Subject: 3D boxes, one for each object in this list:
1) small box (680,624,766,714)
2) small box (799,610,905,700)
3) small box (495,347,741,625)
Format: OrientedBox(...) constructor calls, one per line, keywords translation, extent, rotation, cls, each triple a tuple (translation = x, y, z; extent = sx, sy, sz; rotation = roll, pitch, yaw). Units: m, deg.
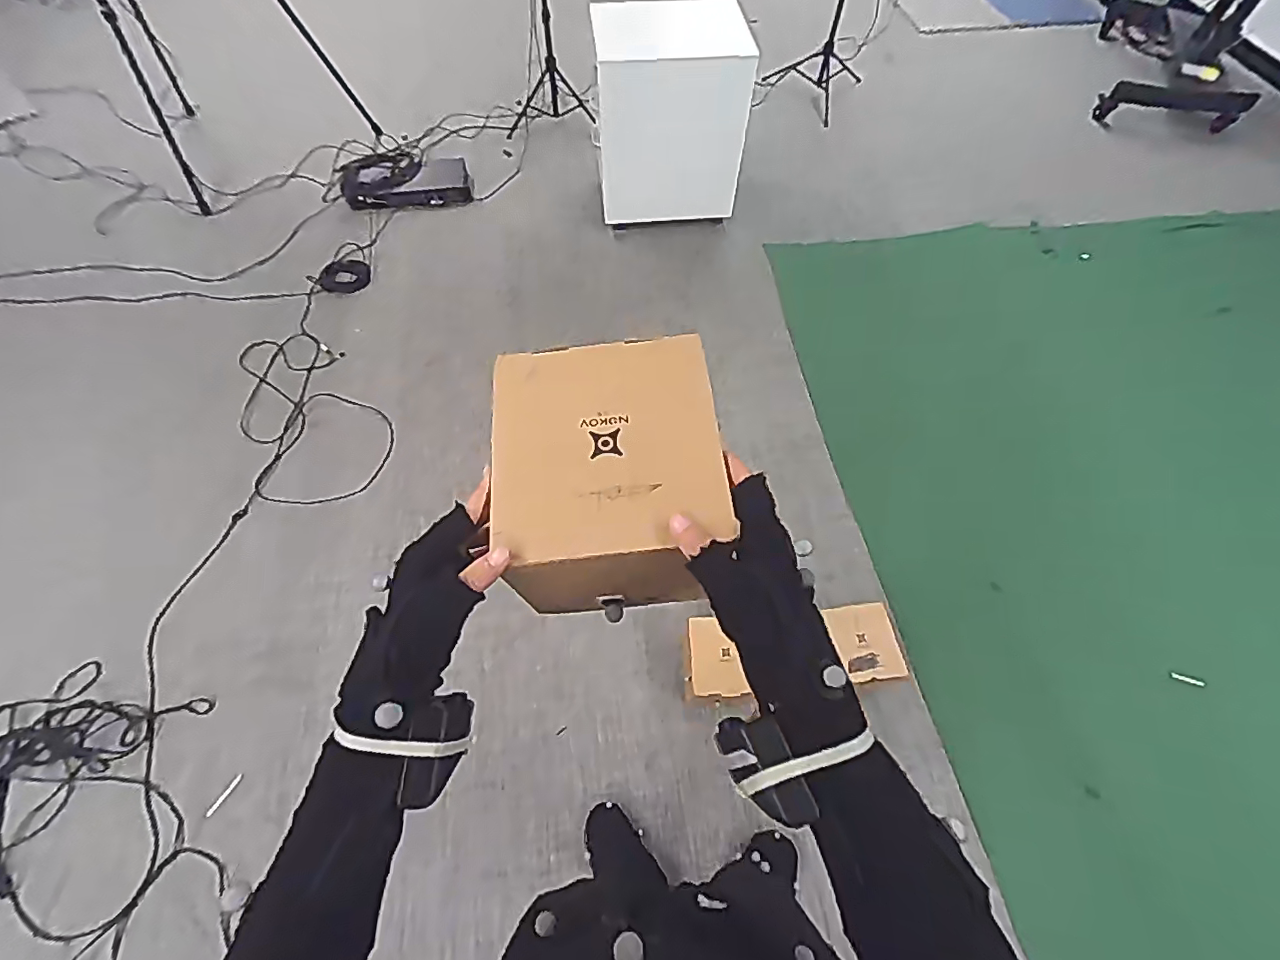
OrientedBox(translation=(0.192, 0.458, 1.305), extent=(0.168, 0.176, 0.179), rotation=(-2, 61, -3), cls="small box")
OrientedBox(translation=(0.510, 0.435, 1.327), extent=(0.168, 0.176, 0.179), rotation=(-6, 60, -5), cls="small box")
OrientedBox(translation=(-0.019, 0.014, 0.463), extent=(0.168, 0.176, 0.179), rotation=(-6, 64, 0), cls="small box")
